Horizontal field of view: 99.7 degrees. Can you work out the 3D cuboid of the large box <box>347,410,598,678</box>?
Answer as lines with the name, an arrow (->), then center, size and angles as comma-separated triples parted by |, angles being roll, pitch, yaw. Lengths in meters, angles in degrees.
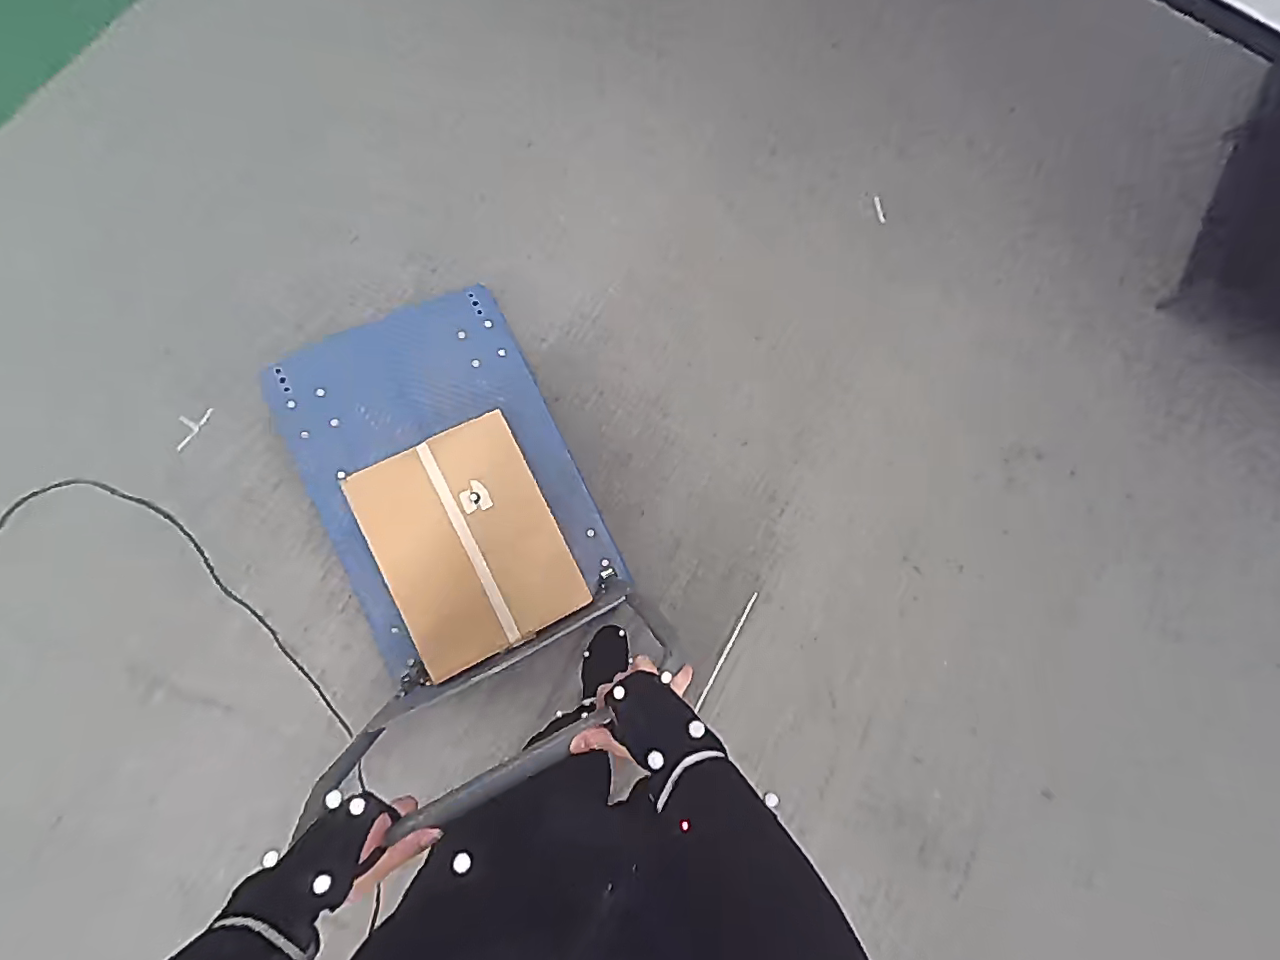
large box -> -0.315, 0.129, 1.121 | 0.320, 0.320, 0.408 | -27, 85, -11
